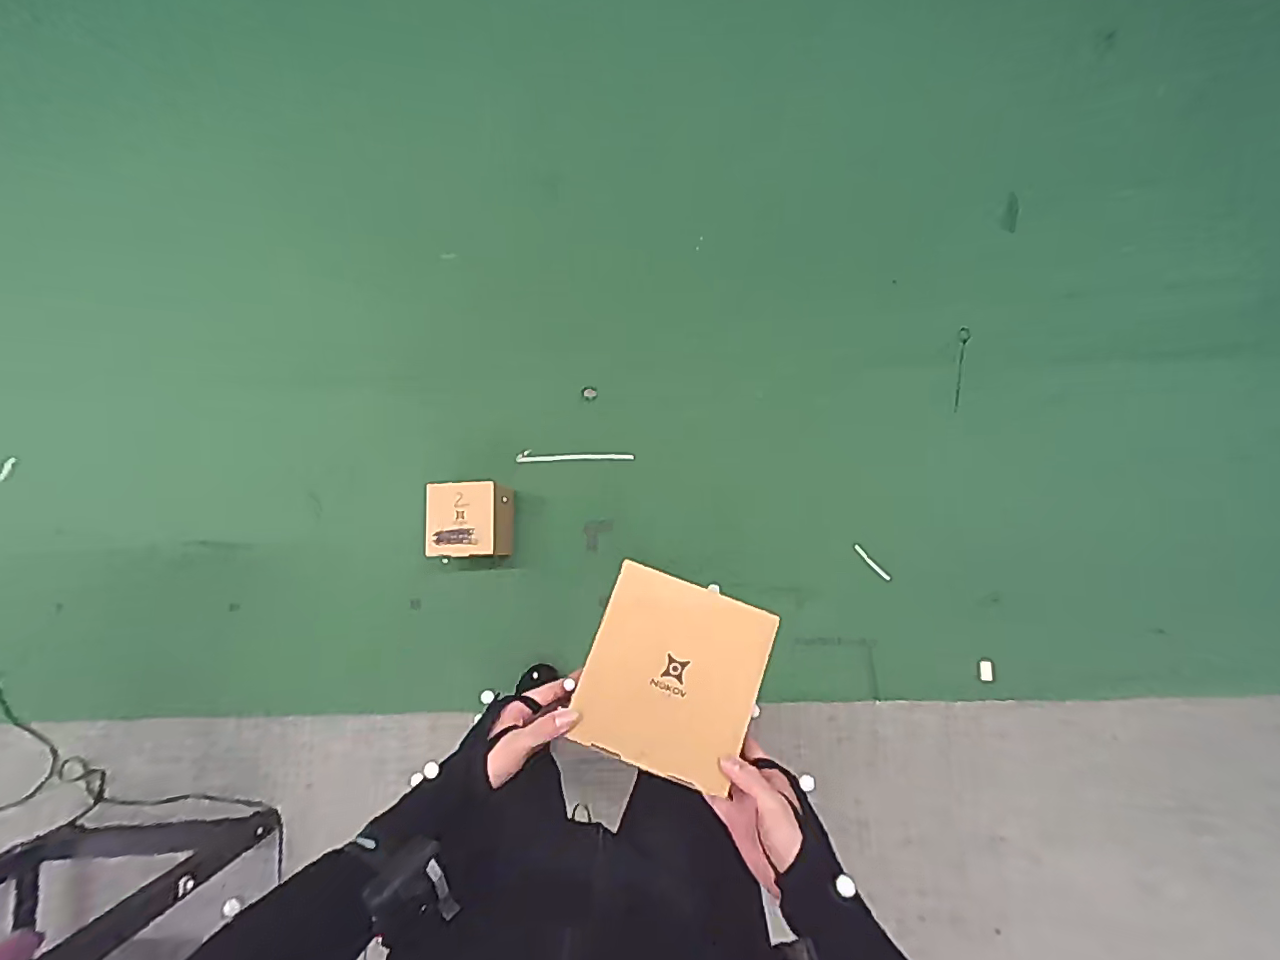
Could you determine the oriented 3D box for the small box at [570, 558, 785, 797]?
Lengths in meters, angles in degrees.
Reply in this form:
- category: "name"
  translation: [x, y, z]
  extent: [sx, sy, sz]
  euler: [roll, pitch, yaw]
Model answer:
- category: "small box"
  translation: [0.035, 0.200, 0.591]
  extent: [0.168, 0.176, 0.179]
  euler: [20, 77, 3]
